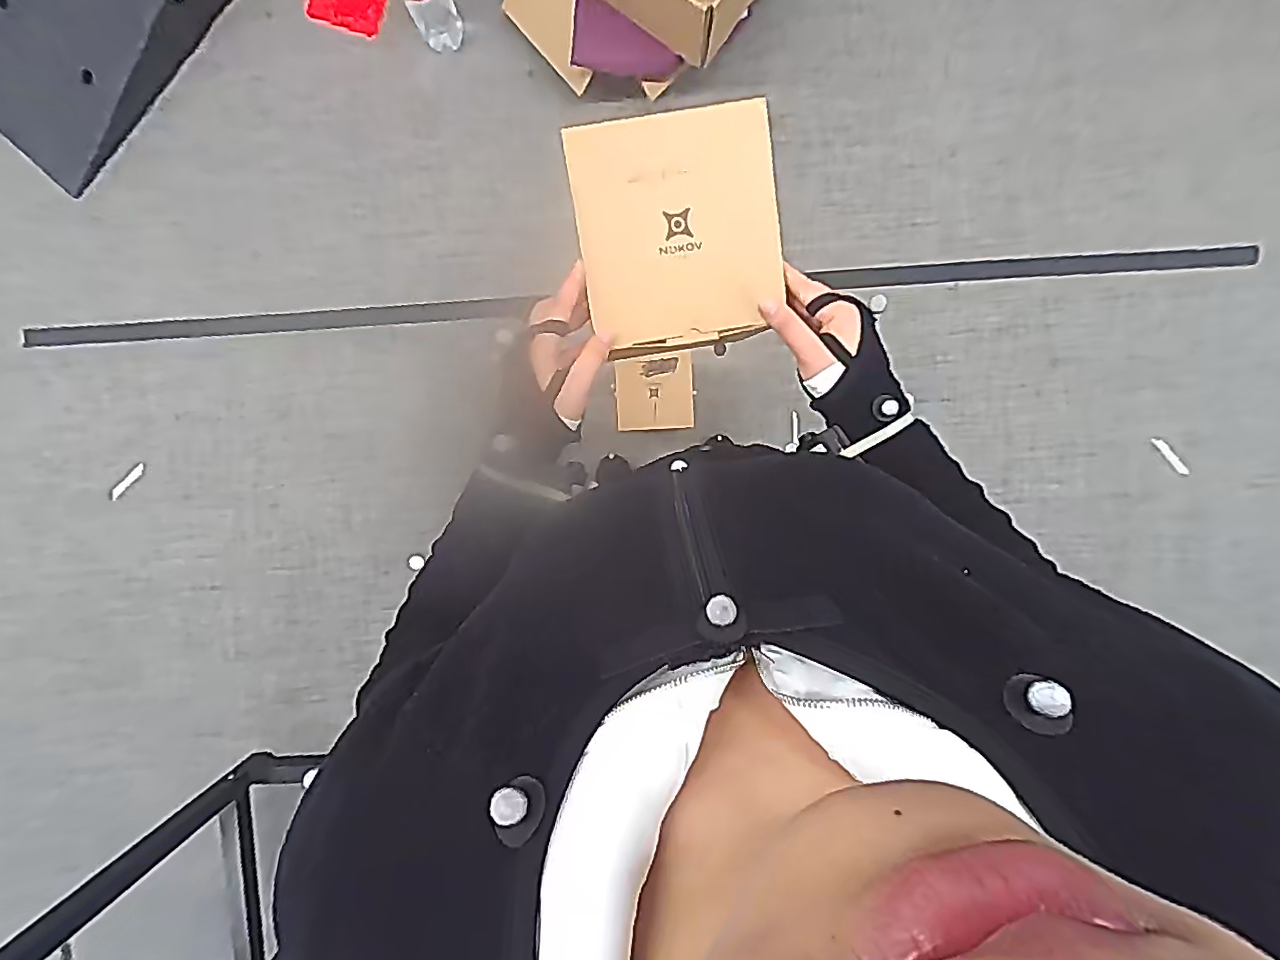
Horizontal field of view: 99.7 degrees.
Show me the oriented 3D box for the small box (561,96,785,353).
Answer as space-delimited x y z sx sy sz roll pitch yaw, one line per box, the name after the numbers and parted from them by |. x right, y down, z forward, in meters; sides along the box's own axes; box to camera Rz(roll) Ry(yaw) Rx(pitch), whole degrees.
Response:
0.027 -0.221 0.518 0.168 0.176 0.179 -10 100 -1 | small box

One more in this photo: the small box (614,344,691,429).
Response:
0.026 -0.207 1.237 0.168 0.176 0.179 -2 96 1 | small box
